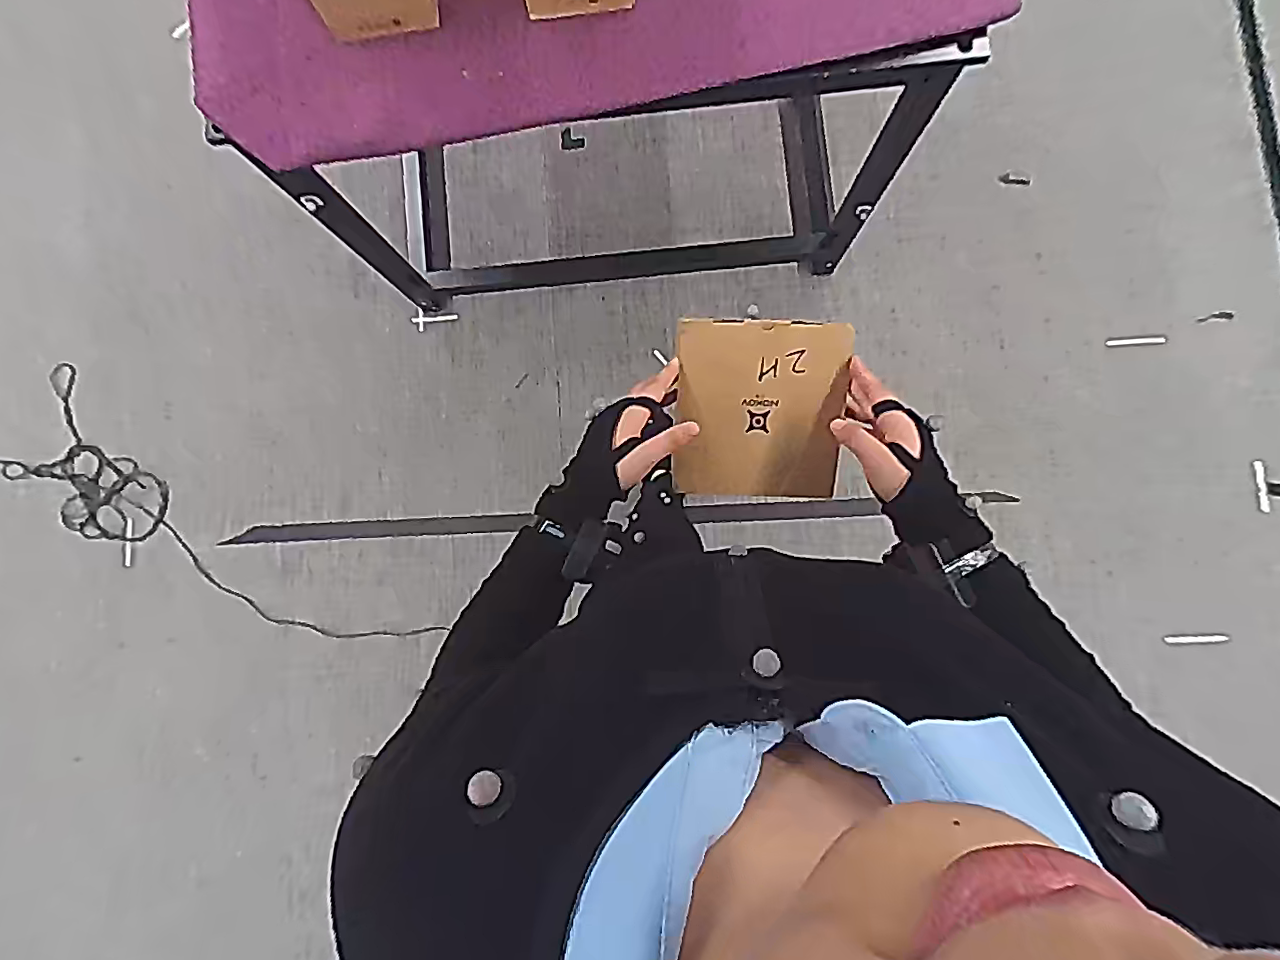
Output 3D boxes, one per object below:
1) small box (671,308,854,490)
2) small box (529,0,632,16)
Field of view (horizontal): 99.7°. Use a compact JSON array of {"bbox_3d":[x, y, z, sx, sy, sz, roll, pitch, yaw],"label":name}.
[{"bbox_3d":[0.123,-0.100,0.608,0.168,0.176,0.179,2,107,3],"label":"small box"},{"bbox_3d":[-0.099,-0.815,0.762,0.168,0.176,0.179,-5,85,2],"label":"small box"}]
